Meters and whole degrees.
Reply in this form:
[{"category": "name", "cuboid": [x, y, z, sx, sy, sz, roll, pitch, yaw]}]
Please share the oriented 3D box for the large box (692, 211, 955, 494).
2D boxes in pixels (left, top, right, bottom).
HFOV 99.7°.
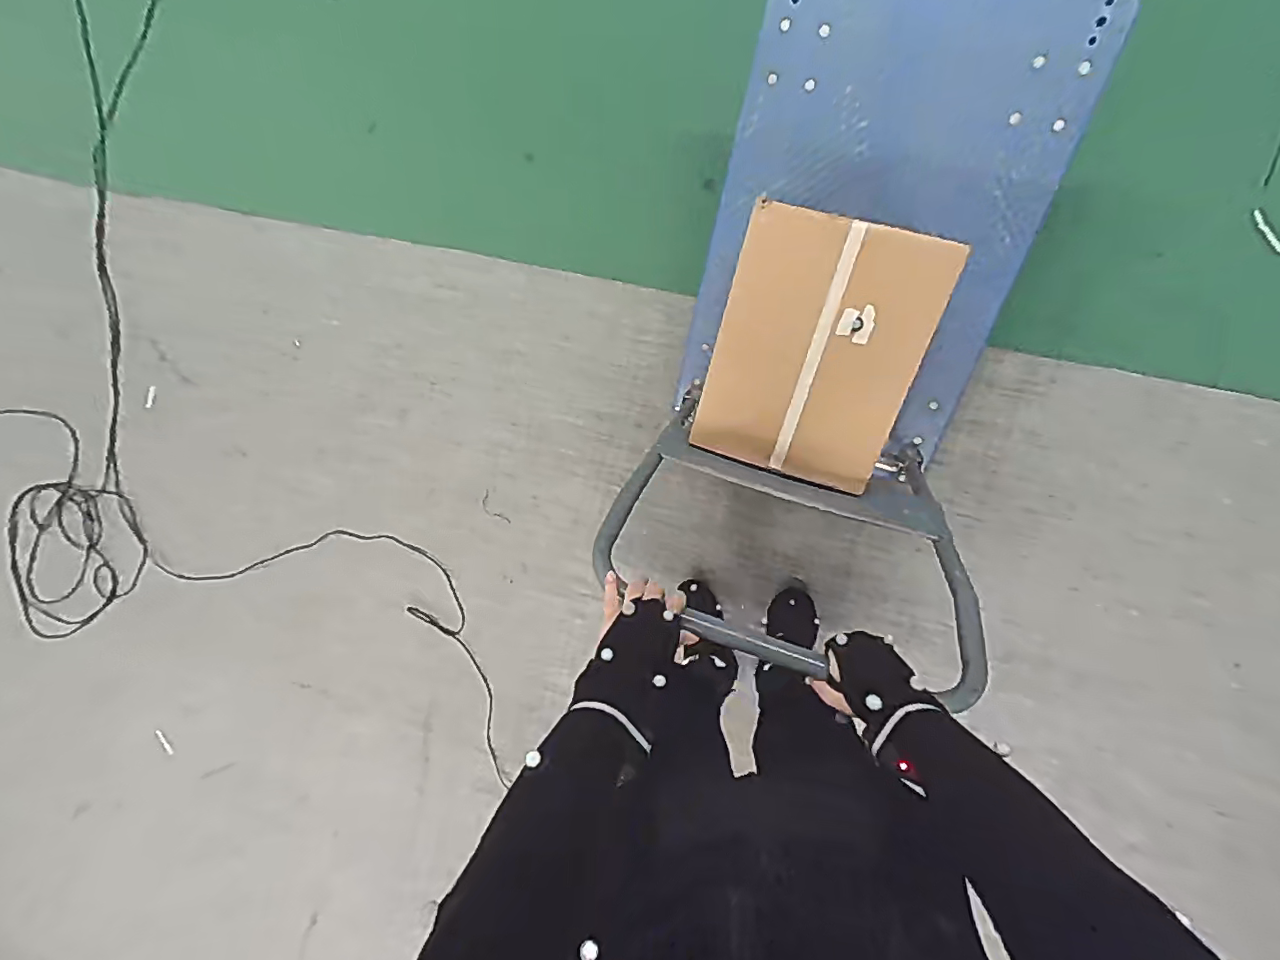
[{"category": "large box", "cuboid": [0.317, -0.241, 1.017, 0.320, 0.320, 0.408, 18, 113, 9]}]
